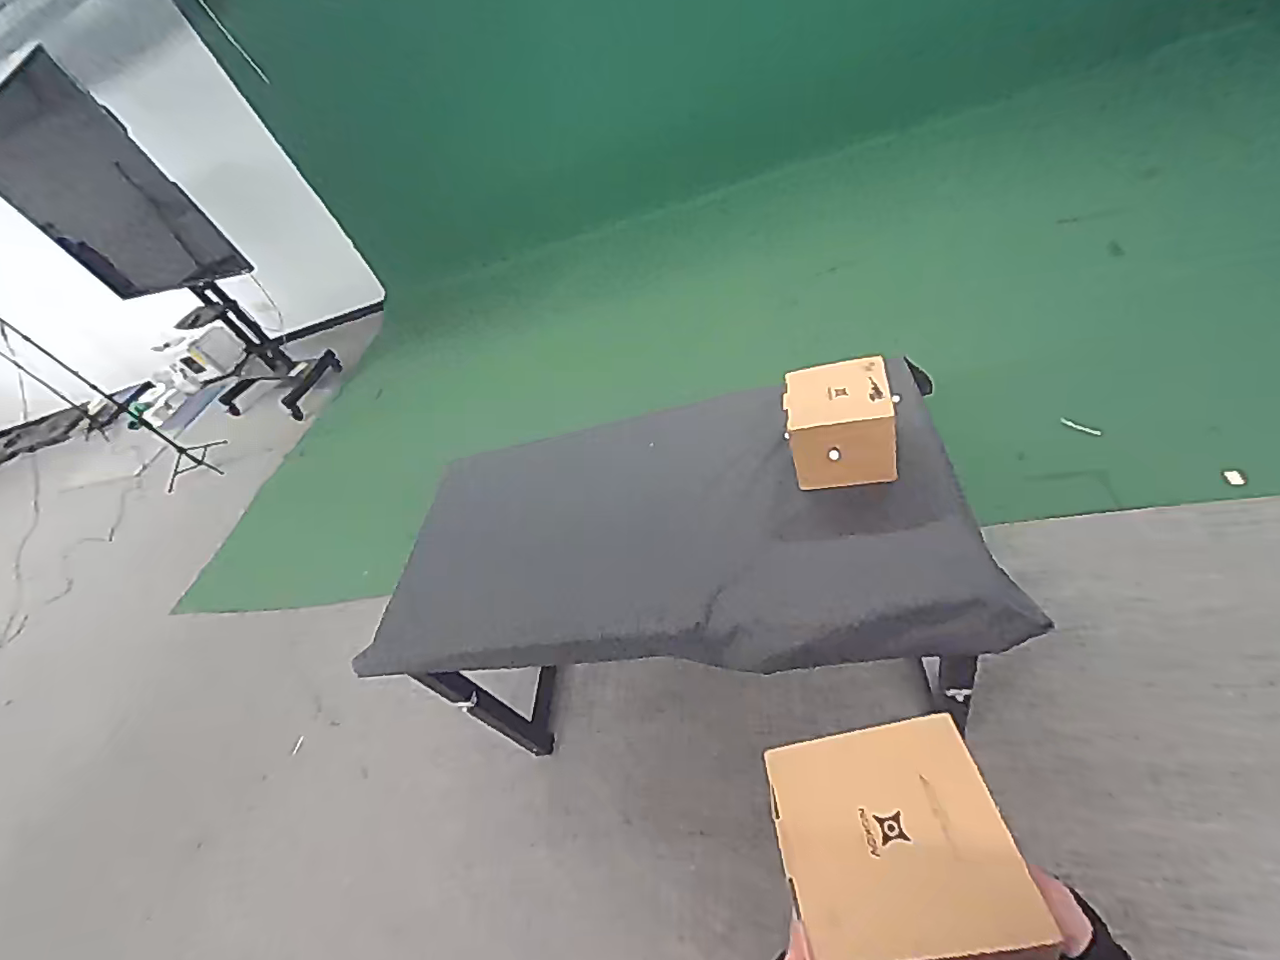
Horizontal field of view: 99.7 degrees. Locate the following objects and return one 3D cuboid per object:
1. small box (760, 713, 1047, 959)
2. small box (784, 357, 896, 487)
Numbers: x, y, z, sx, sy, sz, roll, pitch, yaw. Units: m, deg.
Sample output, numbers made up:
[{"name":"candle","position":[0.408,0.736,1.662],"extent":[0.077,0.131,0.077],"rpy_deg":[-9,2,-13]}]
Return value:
[{"name":"small box","position":[0.226,0.345,0.495],"extent":[0.179,0.176,0.168],"rpy_deg":[-16,38,11]},{"name":"small box","position":[0.378,-0.103,1.025],"extent":[0.179,0.176,0.168],"rpy_deg":[-8,48,22]}]
